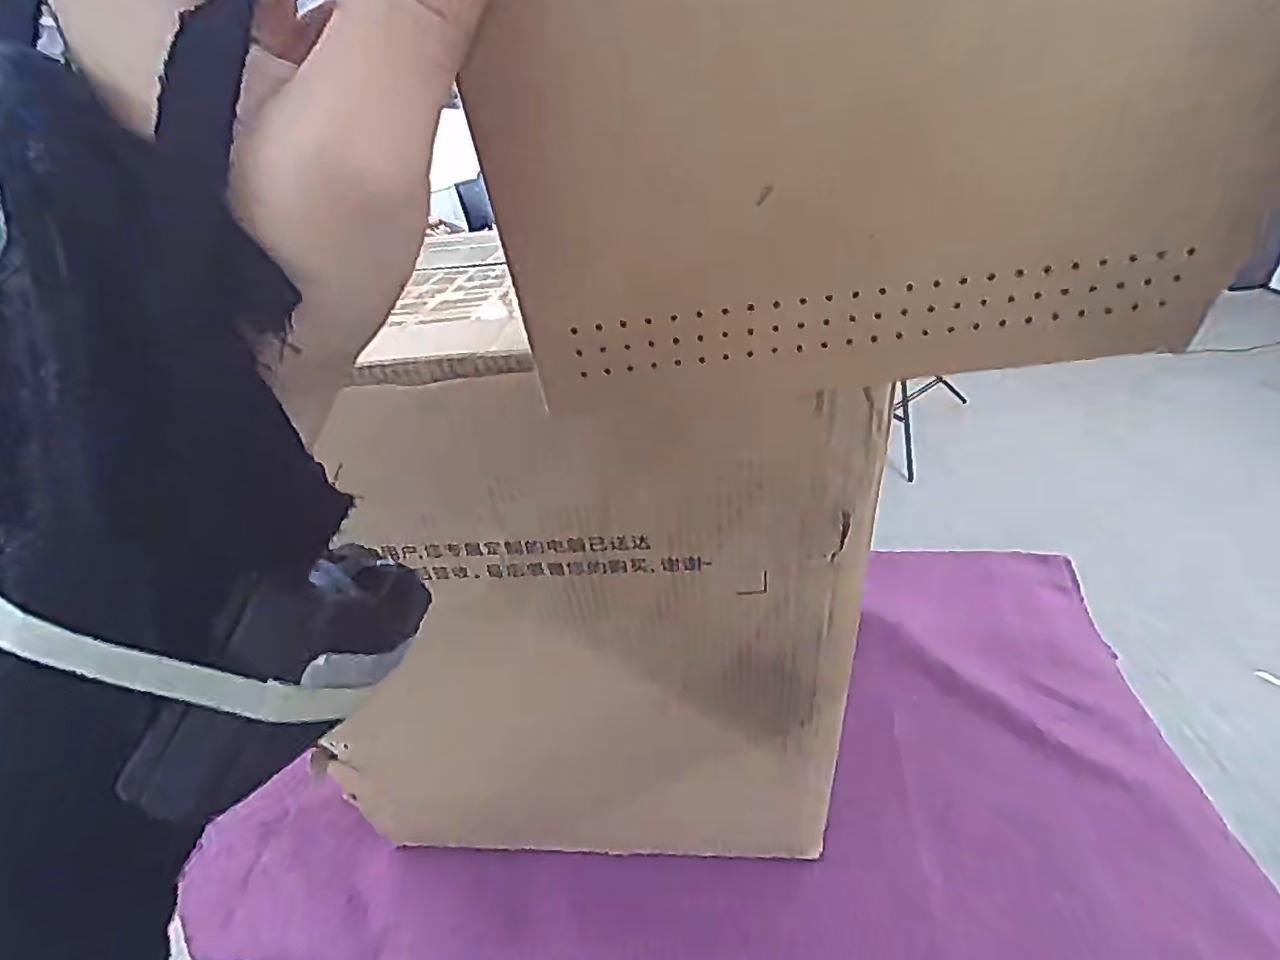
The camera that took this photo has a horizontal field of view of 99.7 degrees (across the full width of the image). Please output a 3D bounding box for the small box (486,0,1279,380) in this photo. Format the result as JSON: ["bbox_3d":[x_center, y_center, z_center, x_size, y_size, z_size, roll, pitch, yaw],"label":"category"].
[{"bbox_3d":[0.053,-0.142,0.156,0.179,0.176,0.168,-5,42,4],"label":"small box"}]
